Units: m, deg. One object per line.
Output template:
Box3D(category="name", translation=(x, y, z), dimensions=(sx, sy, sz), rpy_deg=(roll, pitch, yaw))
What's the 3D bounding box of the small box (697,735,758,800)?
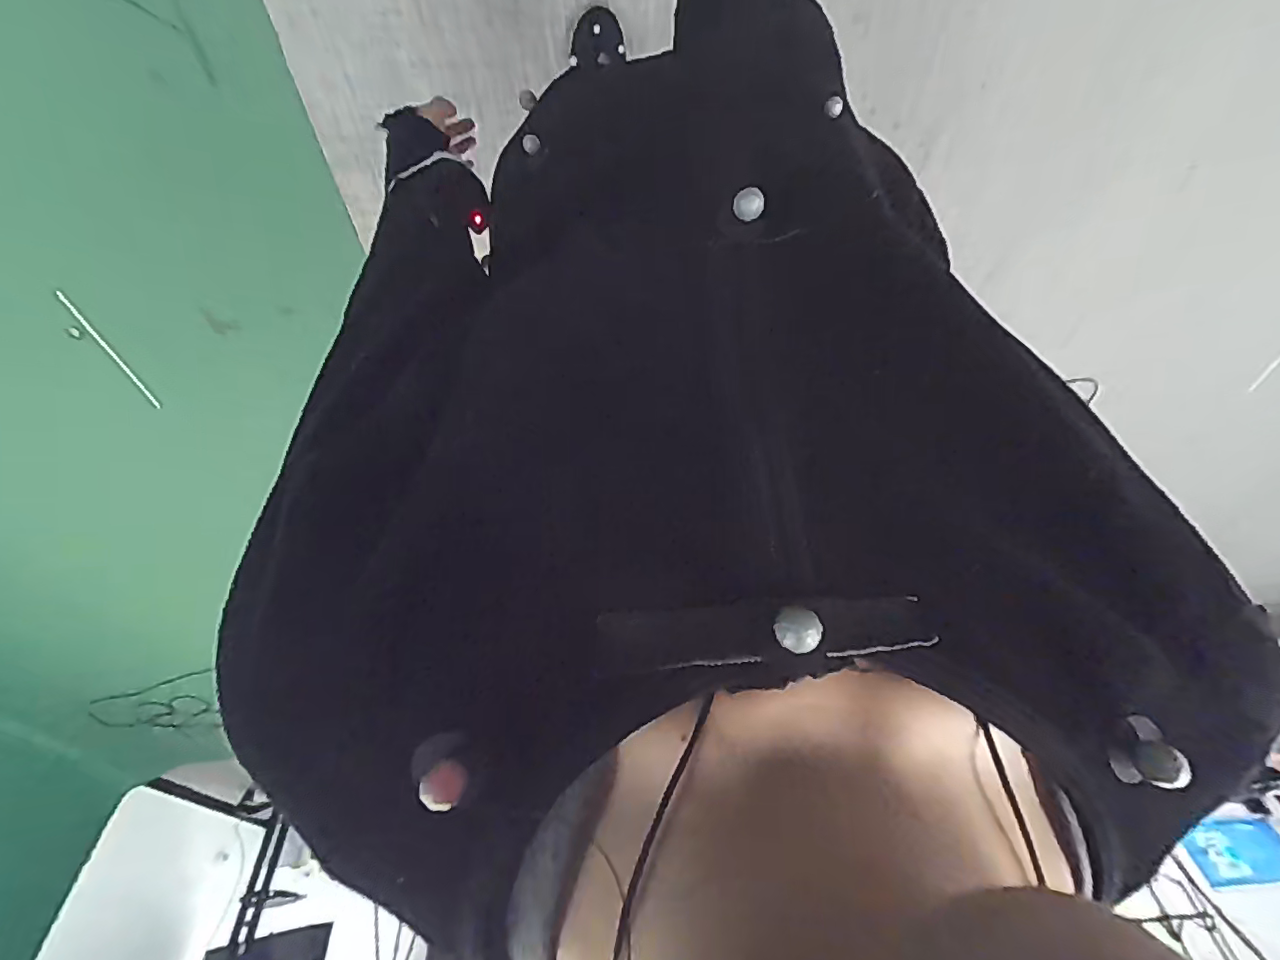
Box3D(category="small box", translation=(0.302, 1.009, 1.899), dimensions=(0.179, 0.176, 0.168), rpy_deg=(-5, 137, 0))
